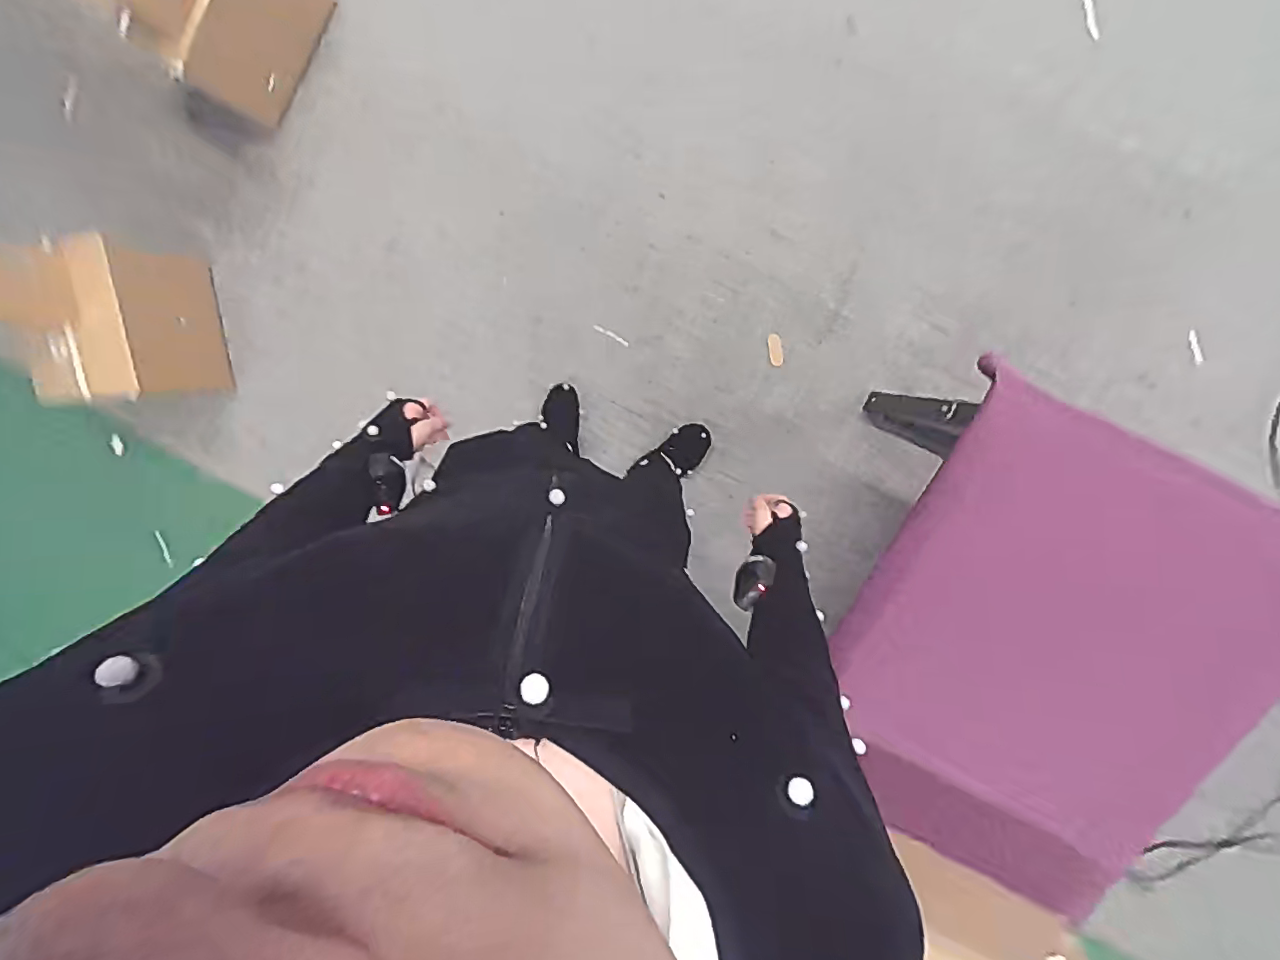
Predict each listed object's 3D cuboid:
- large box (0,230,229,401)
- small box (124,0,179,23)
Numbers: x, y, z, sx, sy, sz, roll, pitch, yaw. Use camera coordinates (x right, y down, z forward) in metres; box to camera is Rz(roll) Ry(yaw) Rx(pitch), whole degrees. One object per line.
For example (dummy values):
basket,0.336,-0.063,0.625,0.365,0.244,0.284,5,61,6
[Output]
large box,-1.473,-0.450,1.540,0.320,0.320,0.408,-3,102,8
small box,-1.091,-1.111,1.122,0.179,0.176,0.168,34,102,-3
